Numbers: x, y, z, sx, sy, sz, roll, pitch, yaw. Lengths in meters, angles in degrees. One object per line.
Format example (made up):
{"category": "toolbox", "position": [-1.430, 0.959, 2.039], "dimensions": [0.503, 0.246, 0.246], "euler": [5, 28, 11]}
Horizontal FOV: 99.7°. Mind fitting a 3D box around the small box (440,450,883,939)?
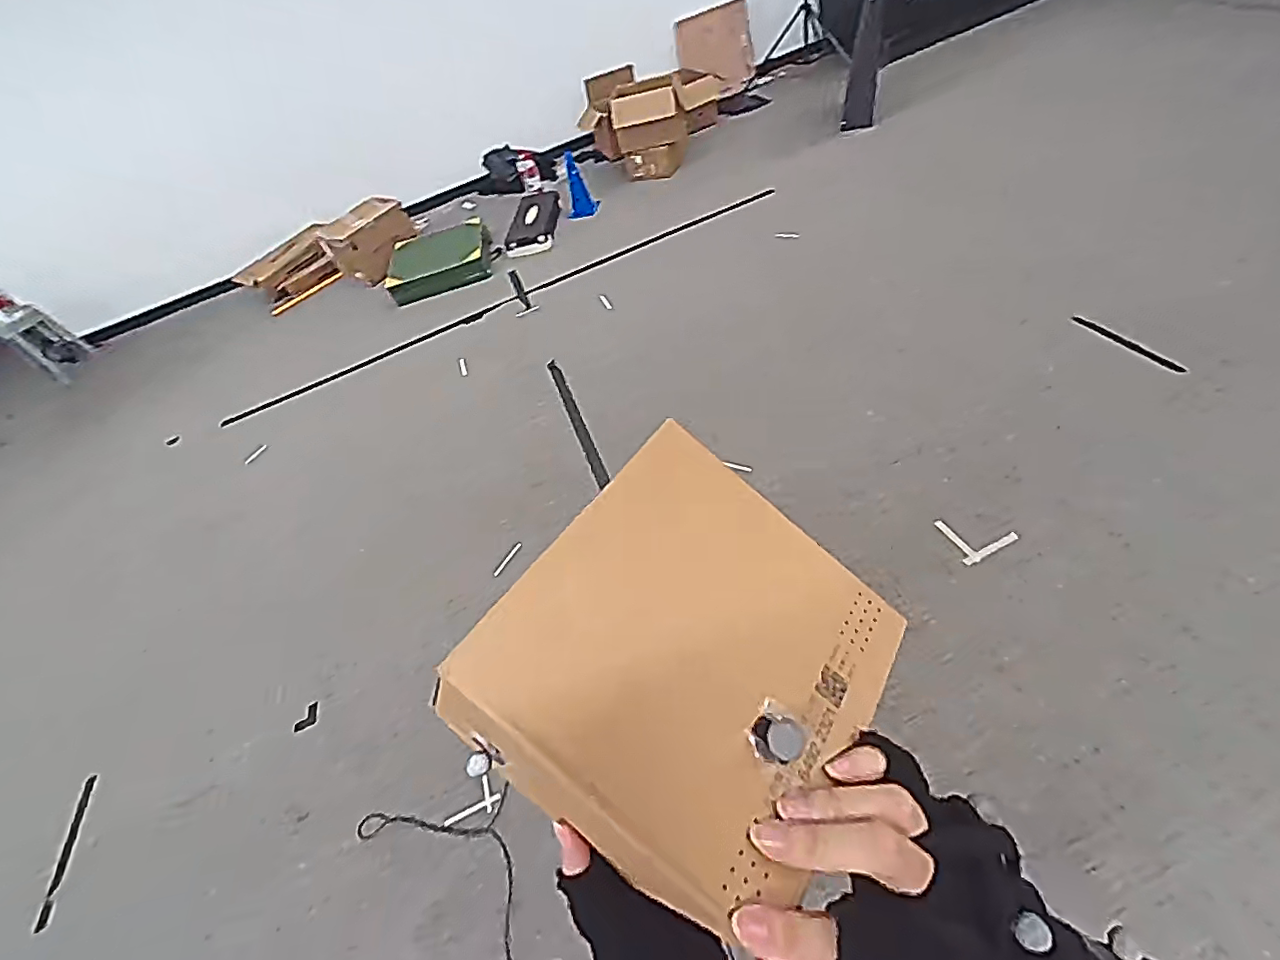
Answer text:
{"category": "small box", "position": [0.003, 0.122, 0.327], "dimensions": [0.176, 0.179, 0.168], "euler": [40, 57, 1]}
